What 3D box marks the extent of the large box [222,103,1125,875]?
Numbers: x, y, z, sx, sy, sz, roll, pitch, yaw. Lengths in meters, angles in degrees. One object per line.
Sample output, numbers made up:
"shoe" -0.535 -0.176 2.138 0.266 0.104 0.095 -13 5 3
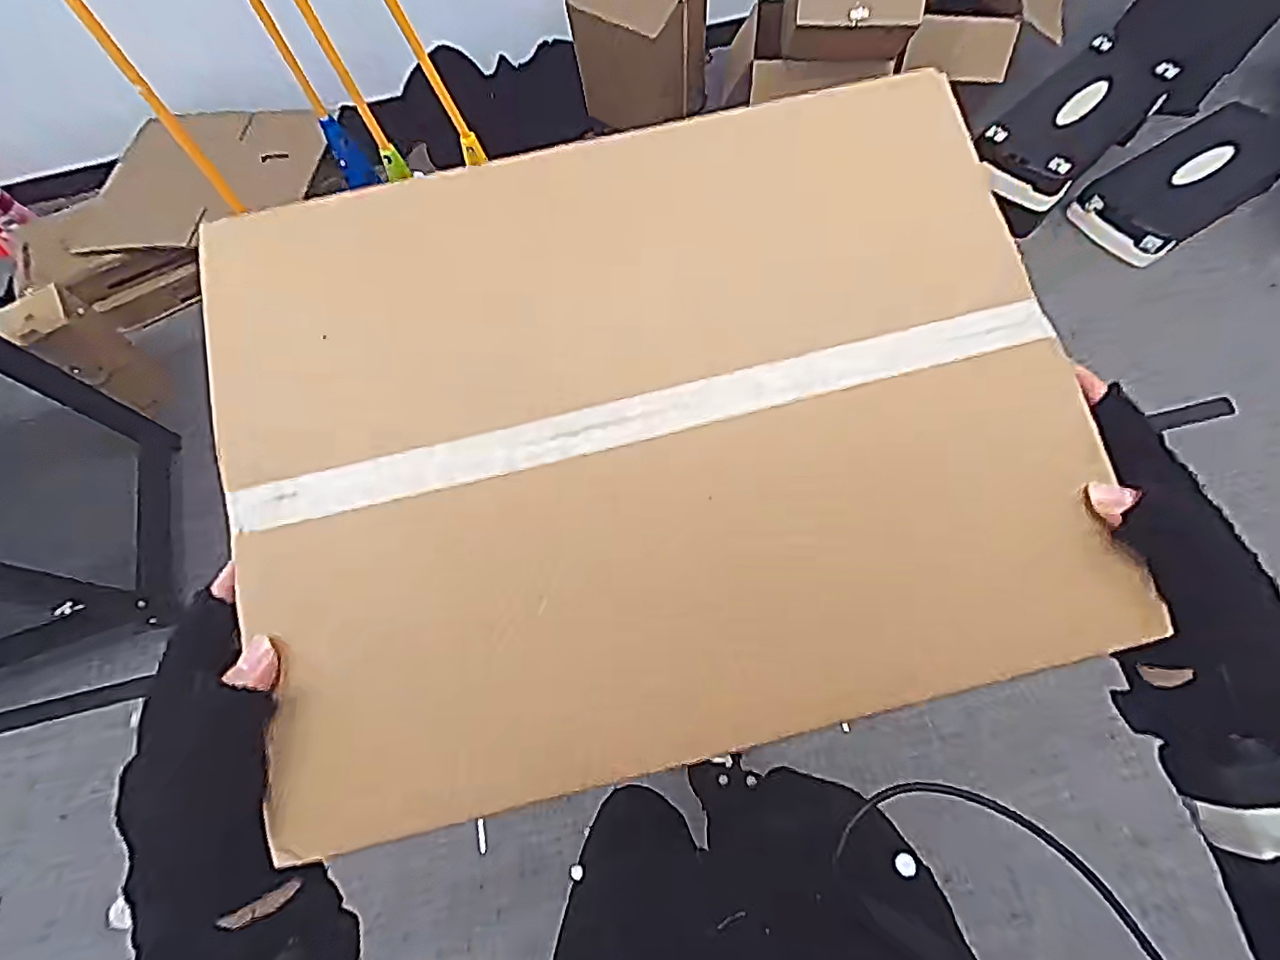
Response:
"large box" 0.006 0.006 0.419 0.408 0.320 0.320 -14 79 -2
